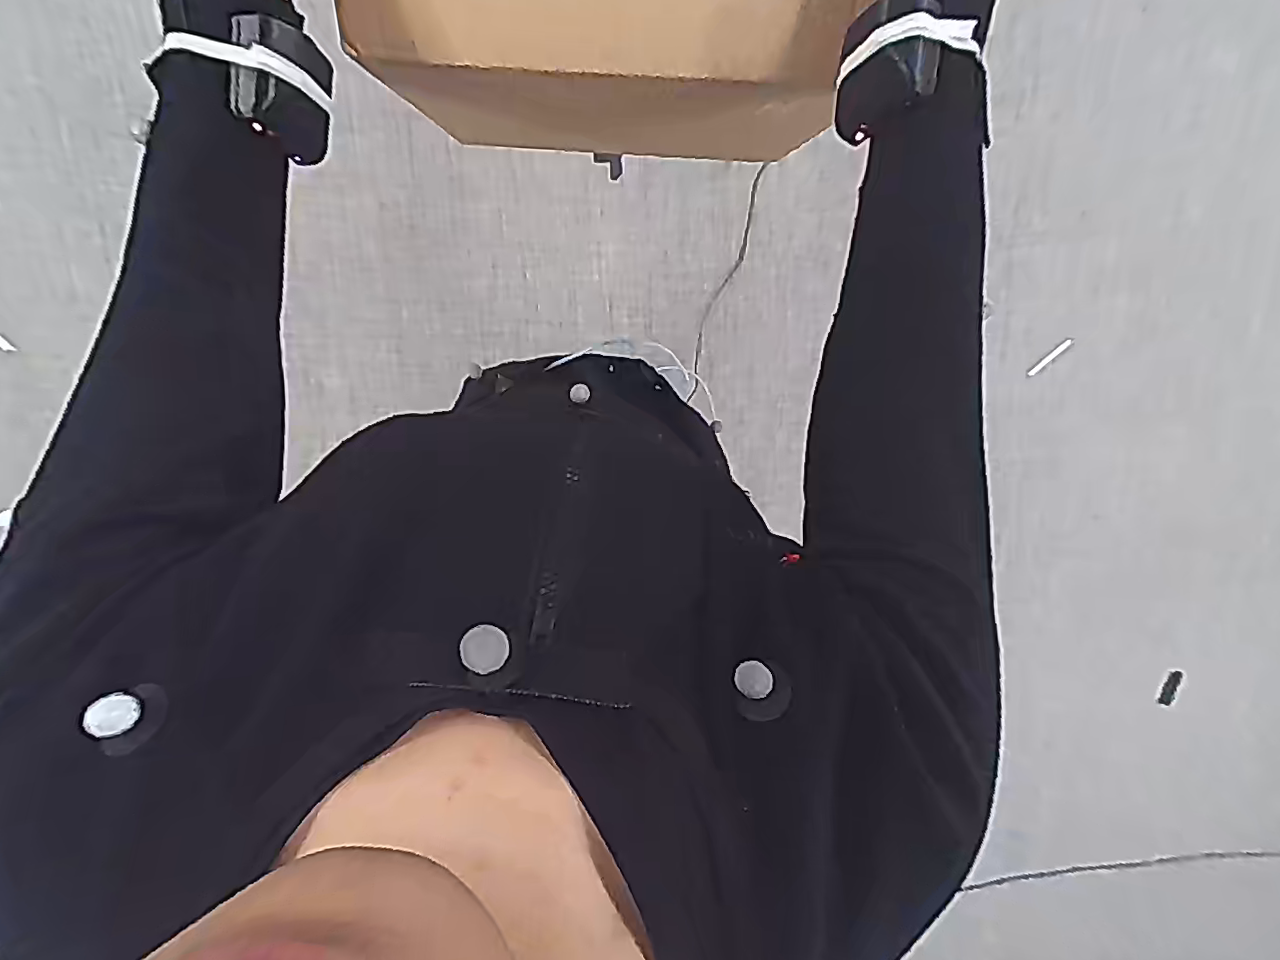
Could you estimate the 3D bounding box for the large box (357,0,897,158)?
[{"bbox_3d":[-0.011,-0.505,0.495,0.408,0.320,0.320,1,112,-3],"label":"large box"}]
